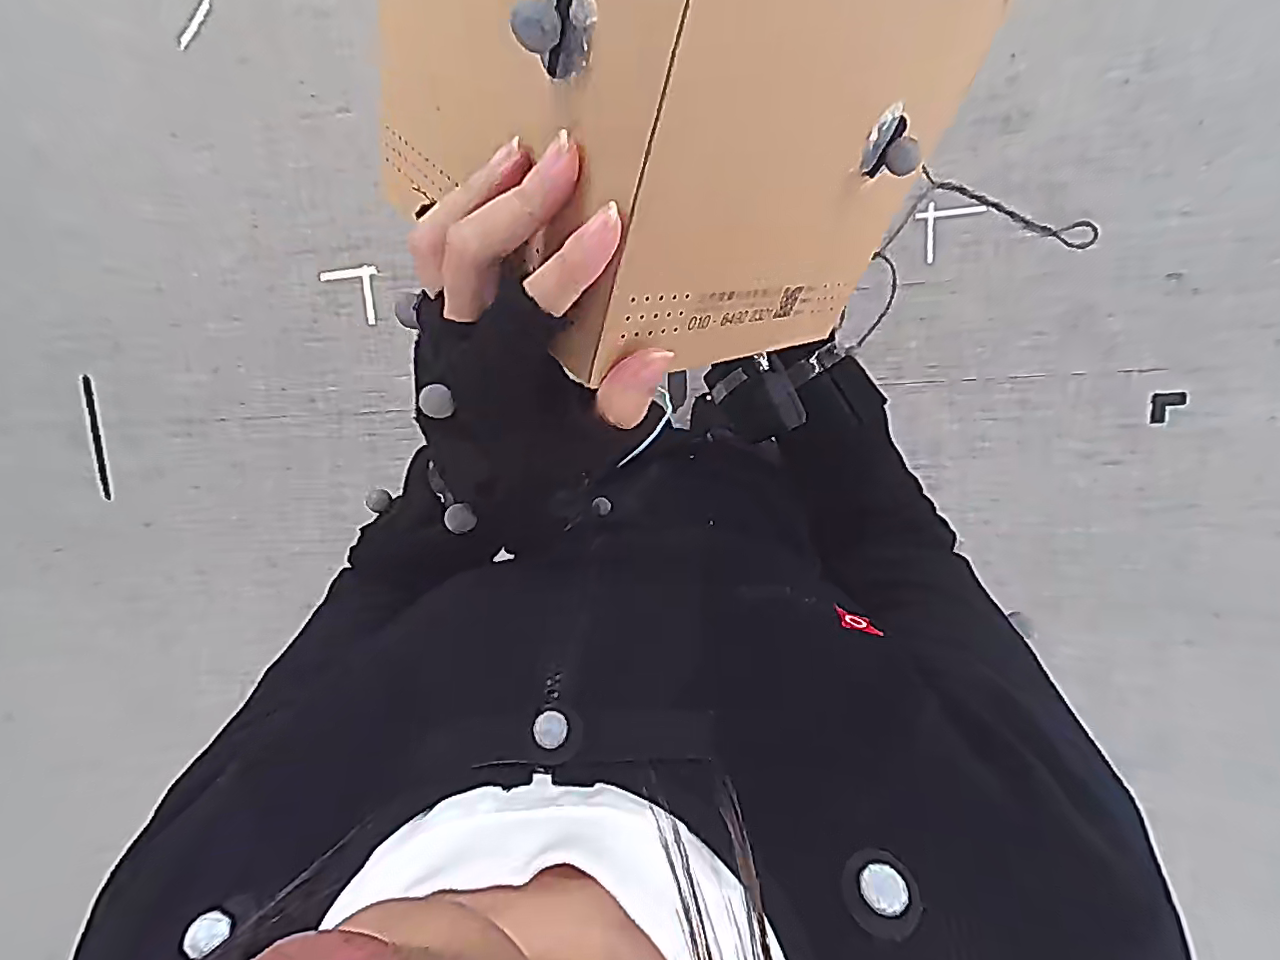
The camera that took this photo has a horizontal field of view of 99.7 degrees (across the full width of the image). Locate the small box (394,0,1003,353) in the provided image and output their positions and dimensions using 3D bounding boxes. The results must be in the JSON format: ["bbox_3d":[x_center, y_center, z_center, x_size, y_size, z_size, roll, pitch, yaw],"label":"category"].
[{"bbox_3d":[0.012,-0.166,0.230,0.179,0.168,0.176,45,134,27],"label":"small box"}]
